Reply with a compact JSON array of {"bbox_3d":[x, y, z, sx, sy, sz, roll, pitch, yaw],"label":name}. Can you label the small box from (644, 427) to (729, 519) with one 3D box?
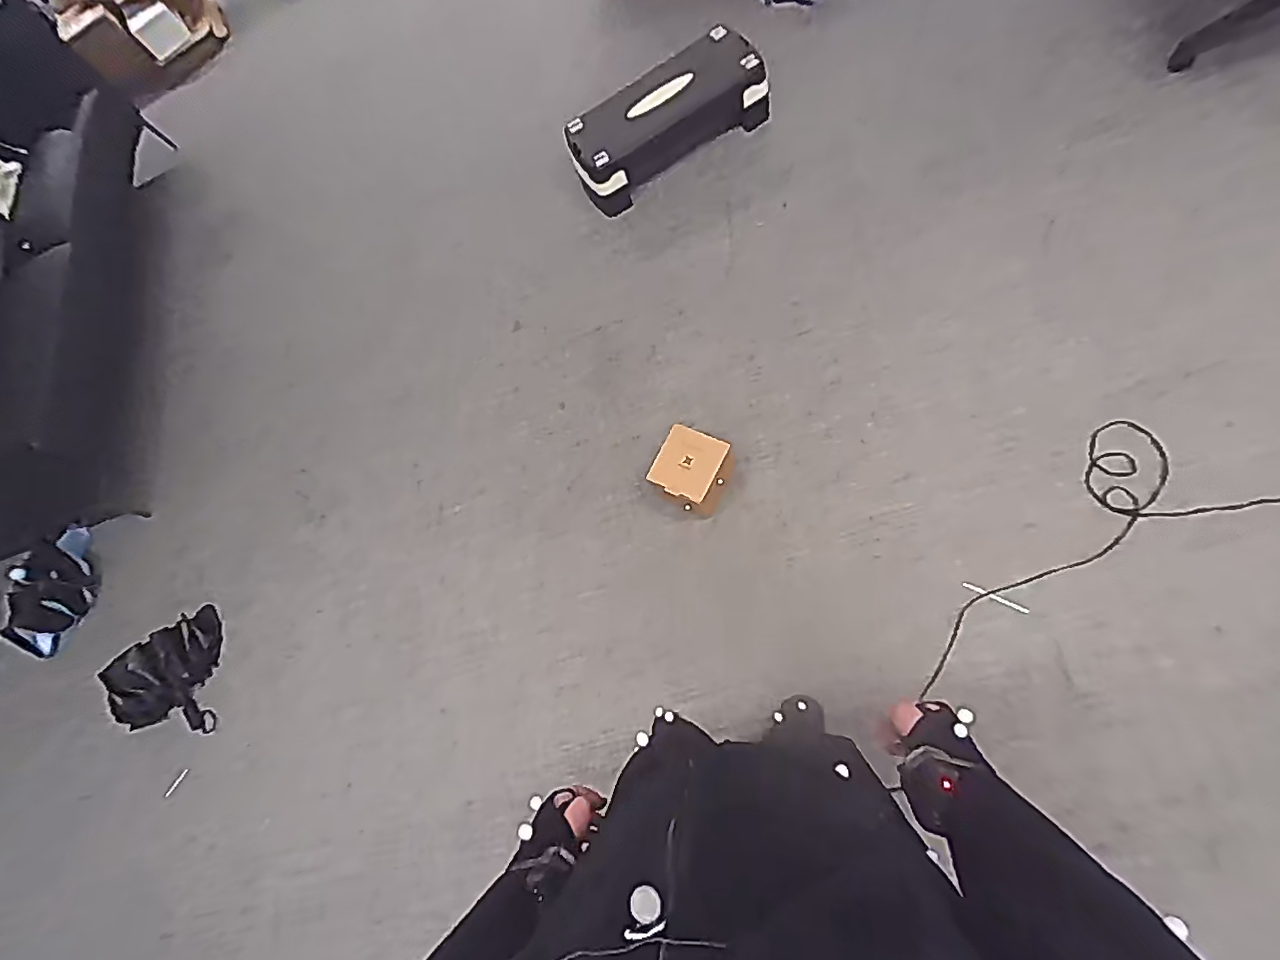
[{"bbox_3d":[0.137,-0.012,1.484,0.168,0.176,0.179,24,79,20],"label":"small box"}]
